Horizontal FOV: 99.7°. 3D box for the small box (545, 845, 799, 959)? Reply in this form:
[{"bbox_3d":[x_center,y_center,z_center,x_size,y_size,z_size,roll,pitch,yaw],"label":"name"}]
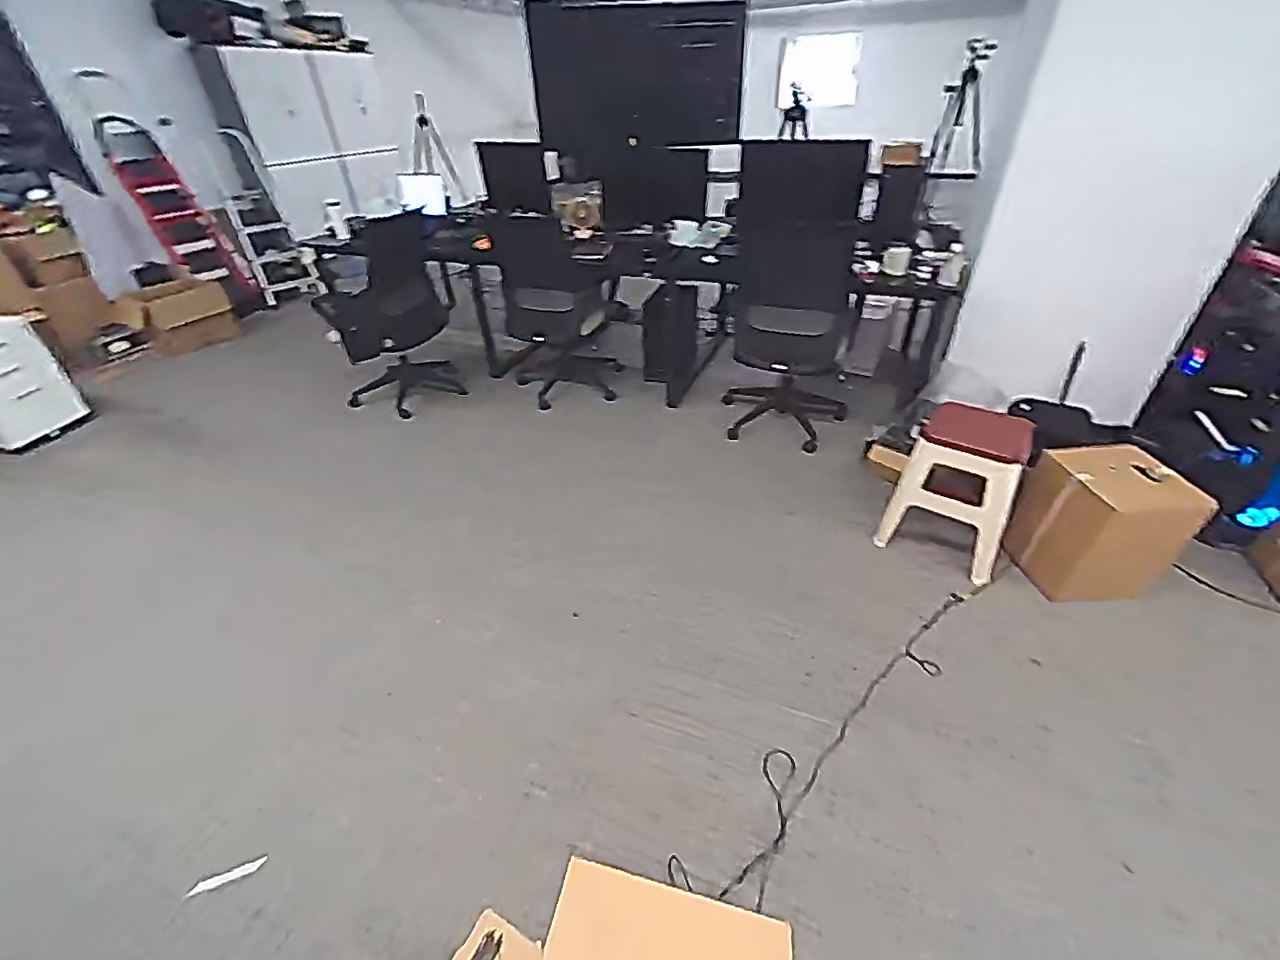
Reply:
[{"bbox_3d":[0.003,0.397,0.360,0.168,0.176,0.179,12,33,7],"label":"small box"}]
